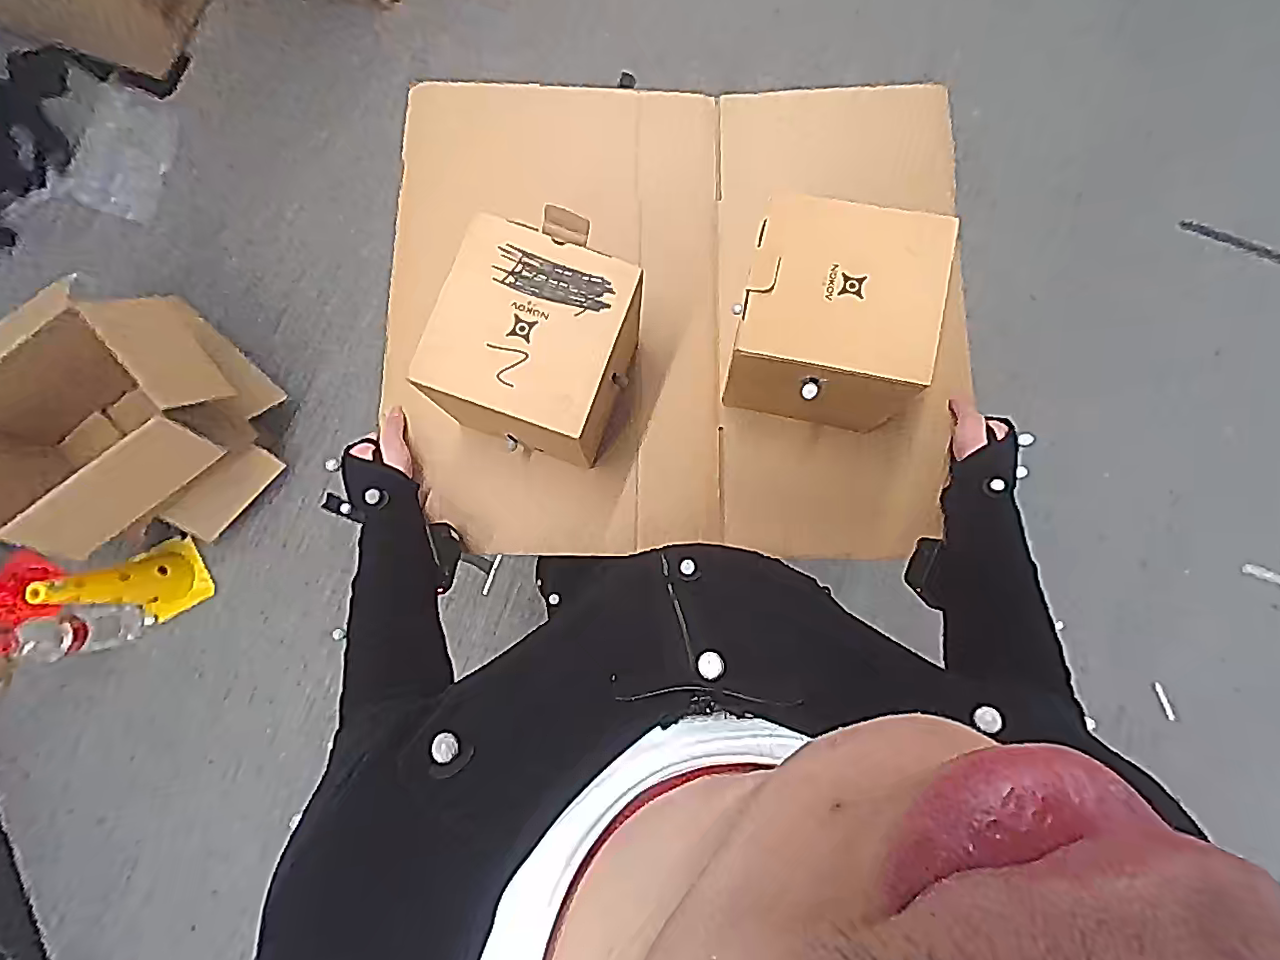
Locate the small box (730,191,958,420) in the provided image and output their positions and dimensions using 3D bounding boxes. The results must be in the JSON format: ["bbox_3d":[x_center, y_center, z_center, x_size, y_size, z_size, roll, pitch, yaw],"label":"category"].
[{"bbox_3d":[0.203,-0.172,0.584,0.179,0.176,0.168,13,83,8],"label":"small box"}]
